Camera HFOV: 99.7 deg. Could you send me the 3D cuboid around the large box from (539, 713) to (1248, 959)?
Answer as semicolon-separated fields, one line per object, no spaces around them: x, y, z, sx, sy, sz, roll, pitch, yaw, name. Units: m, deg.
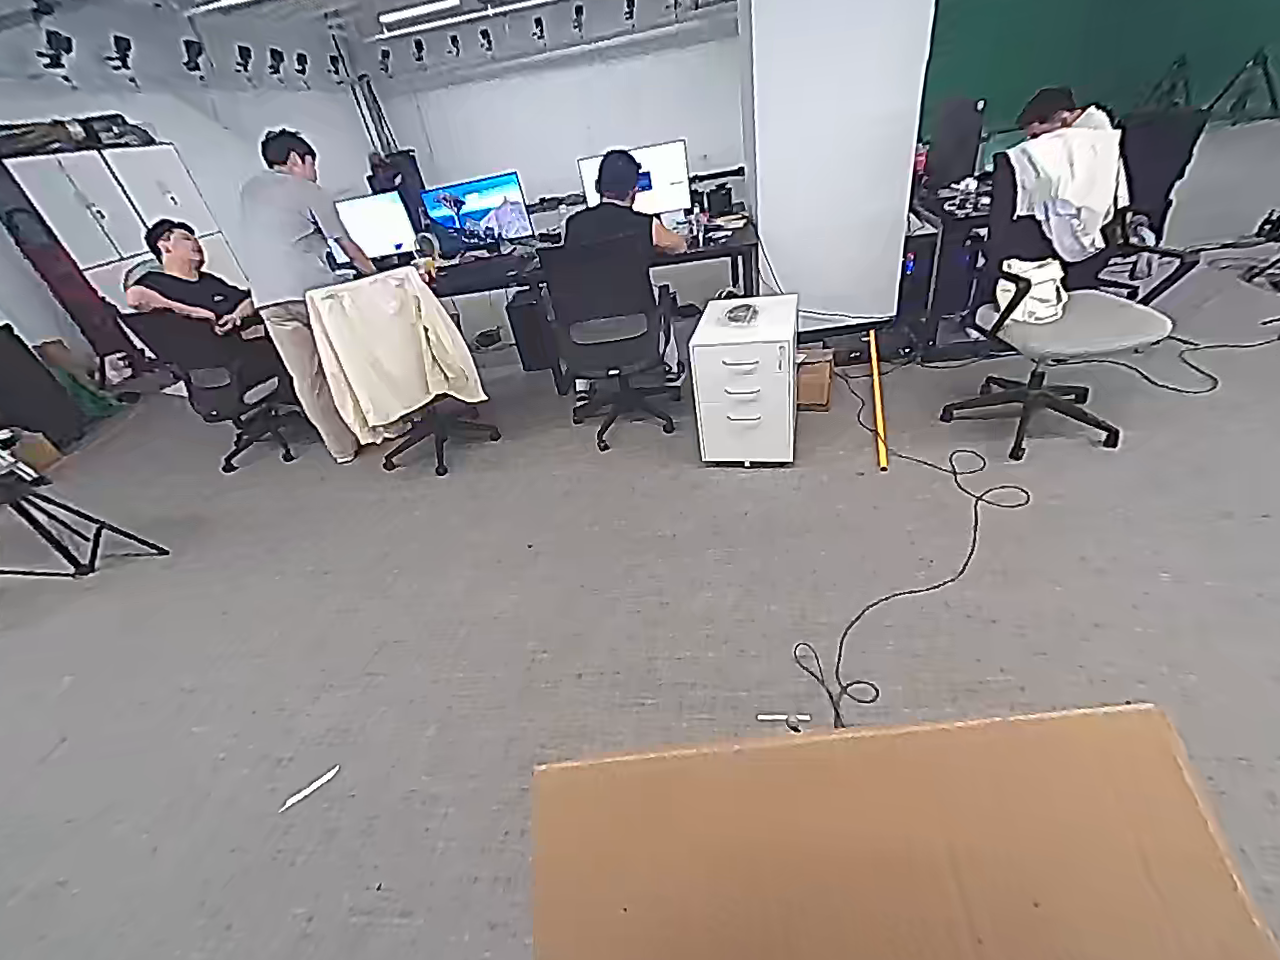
0.161;0.381;0.434;0.408;0.320;0.320;-8;64;4;large box
